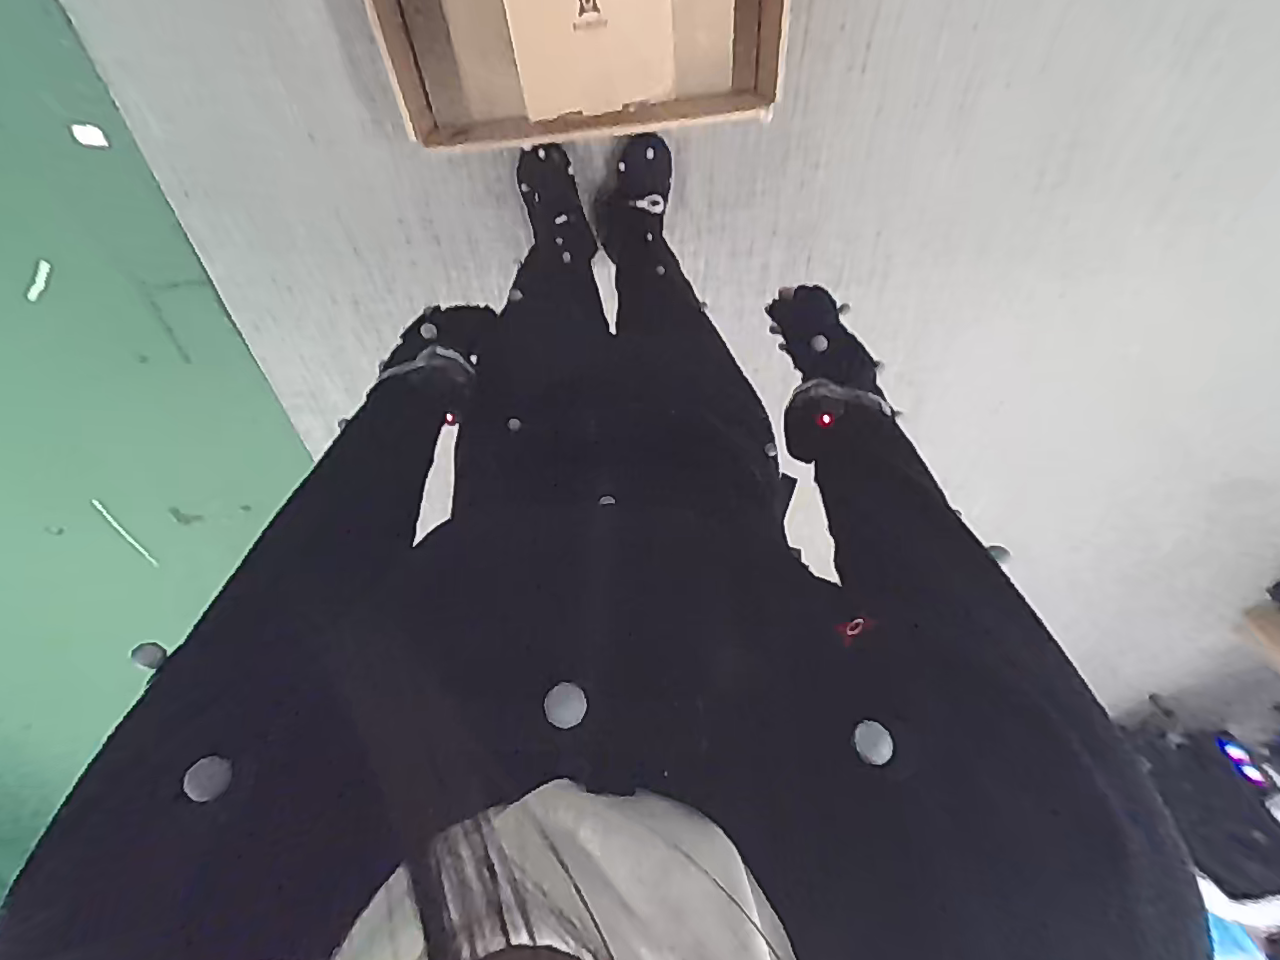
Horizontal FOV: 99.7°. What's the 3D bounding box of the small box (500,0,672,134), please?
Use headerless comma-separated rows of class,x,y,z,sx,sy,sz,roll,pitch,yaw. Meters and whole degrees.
small box,-0.061,-0.511,0.601,0.168,0.176,0.179,-10,130,0
